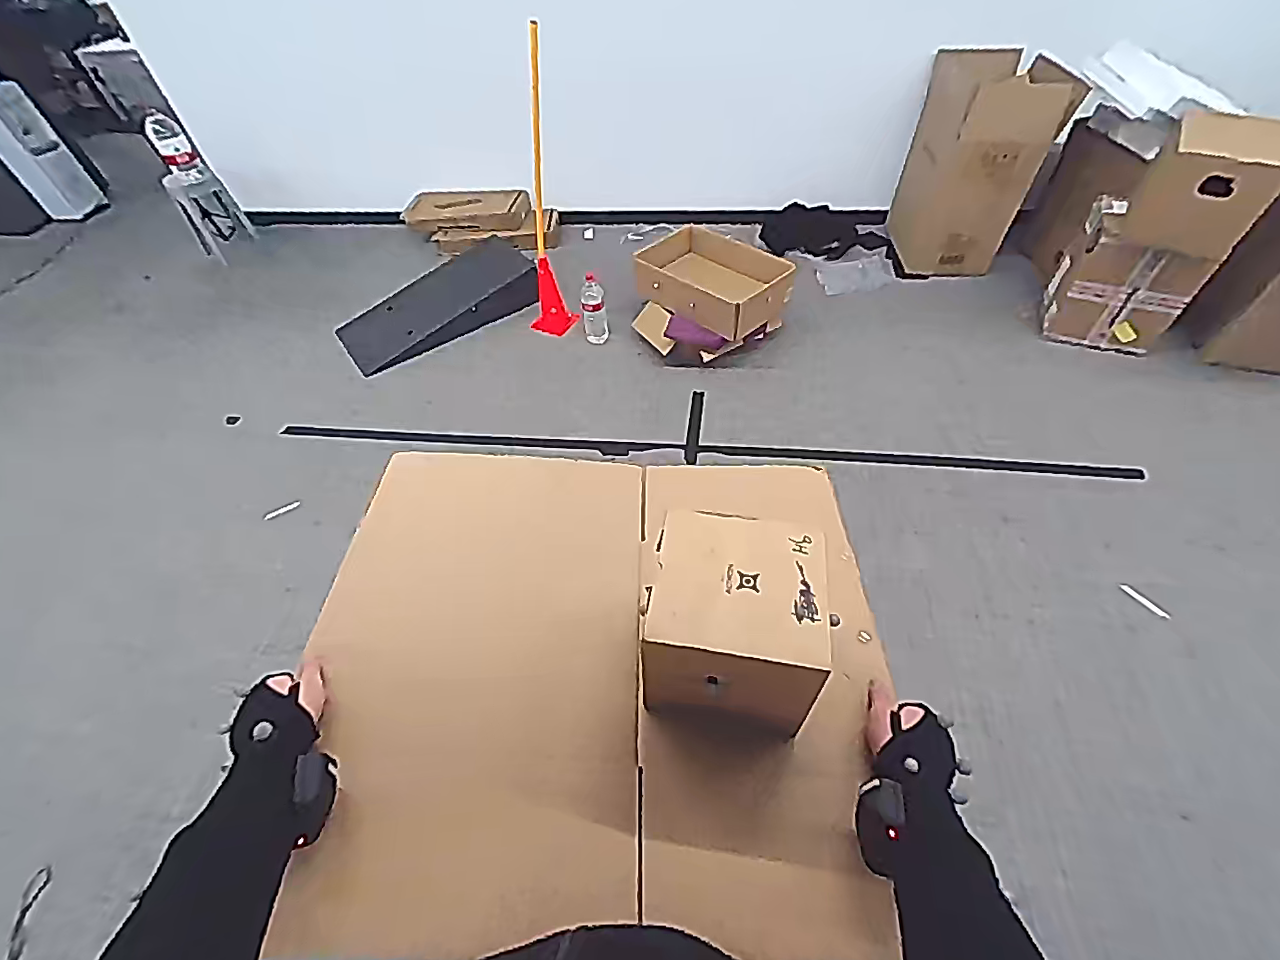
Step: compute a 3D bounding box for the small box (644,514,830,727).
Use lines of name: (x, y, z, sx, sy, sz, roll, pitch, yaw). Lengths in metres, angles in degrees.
small box: (0.106, 0.160, 0.613, 0.179, 0.176, 0.168, 6, 48, 9)
